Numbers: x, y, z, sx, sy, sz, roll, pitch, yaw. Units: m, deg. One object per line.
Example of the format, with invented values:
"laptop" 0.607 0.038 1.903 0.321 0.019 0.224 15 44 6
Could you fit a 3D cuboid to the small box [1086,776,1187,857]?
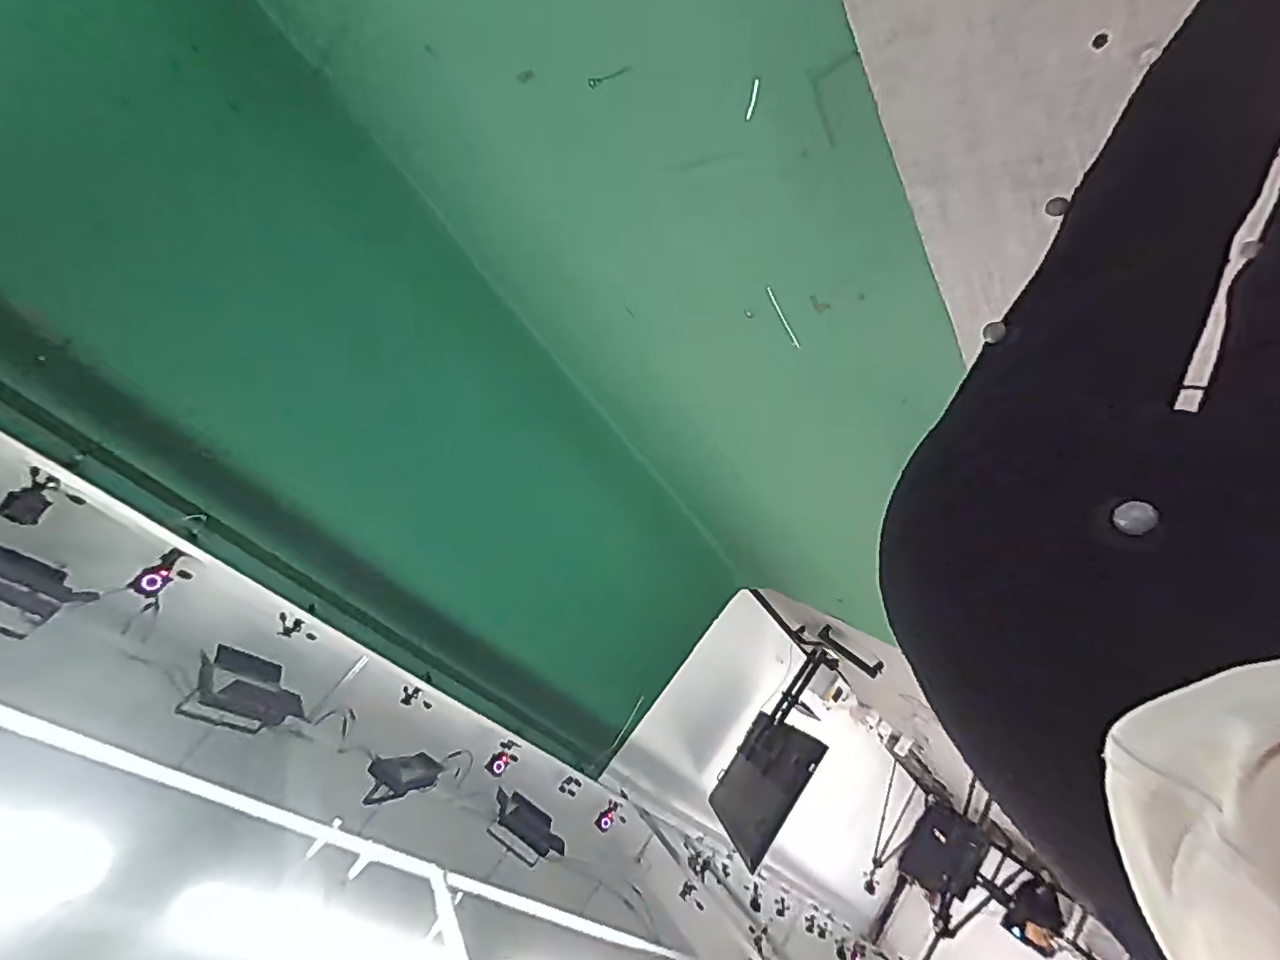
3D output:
"small box" 1.416 0.914 1.538 0.179 0.176 0.168 49 162 -28
